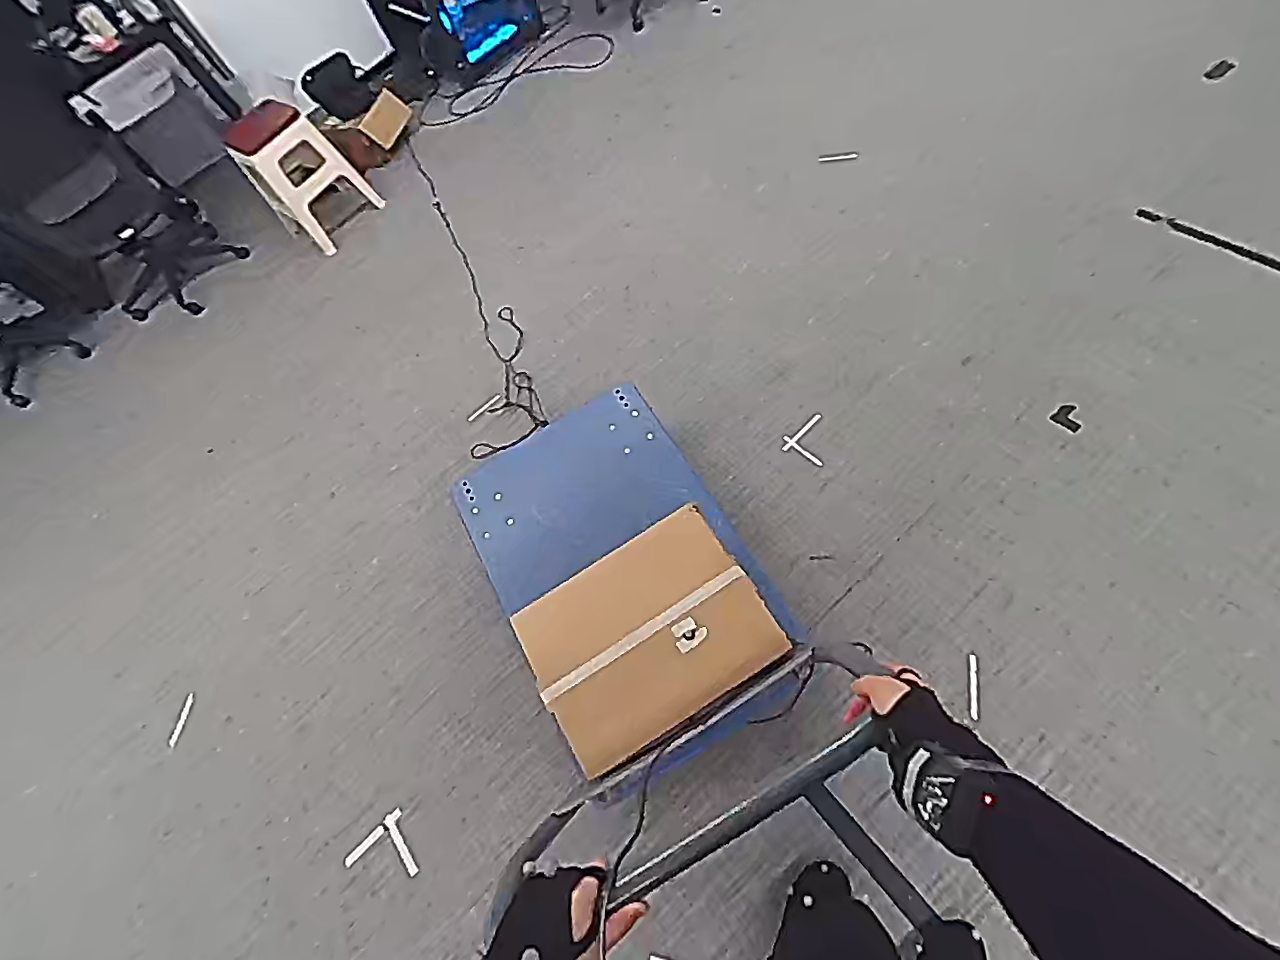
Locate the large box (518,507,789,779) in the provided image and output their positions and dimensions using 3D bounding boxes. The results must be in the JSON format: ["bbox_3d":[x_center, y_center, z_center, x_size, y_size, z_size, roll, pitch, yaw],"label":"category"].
[{"bbox_3d":[0.035,0.326,1.094,0.408,0.320,0.320,-32,68,-3],"label":"large box"}]
